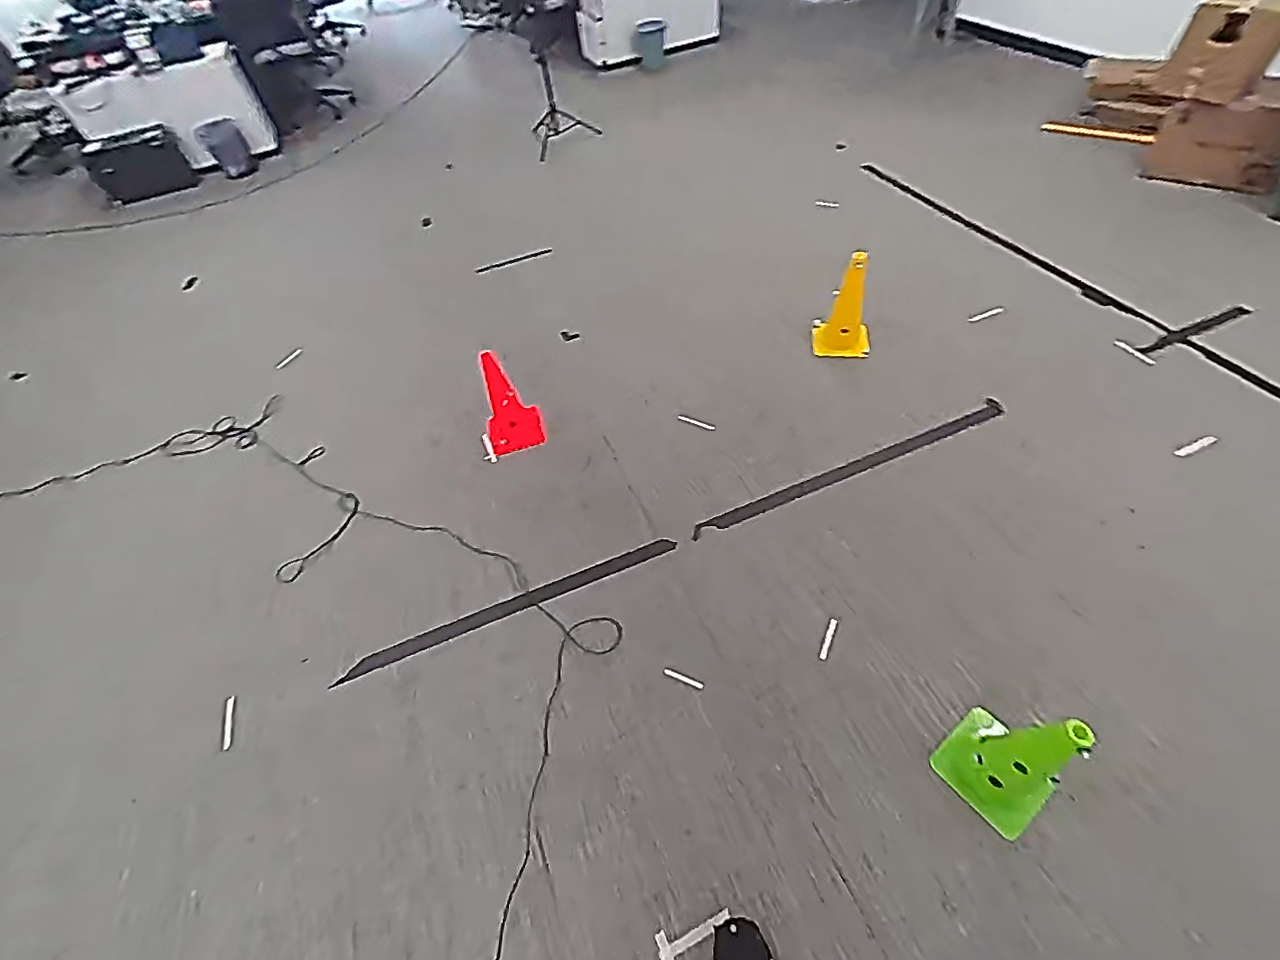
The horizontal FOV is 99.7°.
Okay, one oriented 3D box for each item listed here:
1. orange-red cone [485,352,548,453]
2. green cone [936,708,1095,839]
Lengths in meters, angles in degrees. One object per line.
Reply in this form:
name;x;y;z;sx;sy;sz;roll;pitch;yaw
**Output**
orange-red cone;-0.461;-0.292;1.864;0.199;0.360;0.198;-15;52;-6
green cone;0.772;0.537;1.061;0.202;0.368;0.200;-35;56;-18
